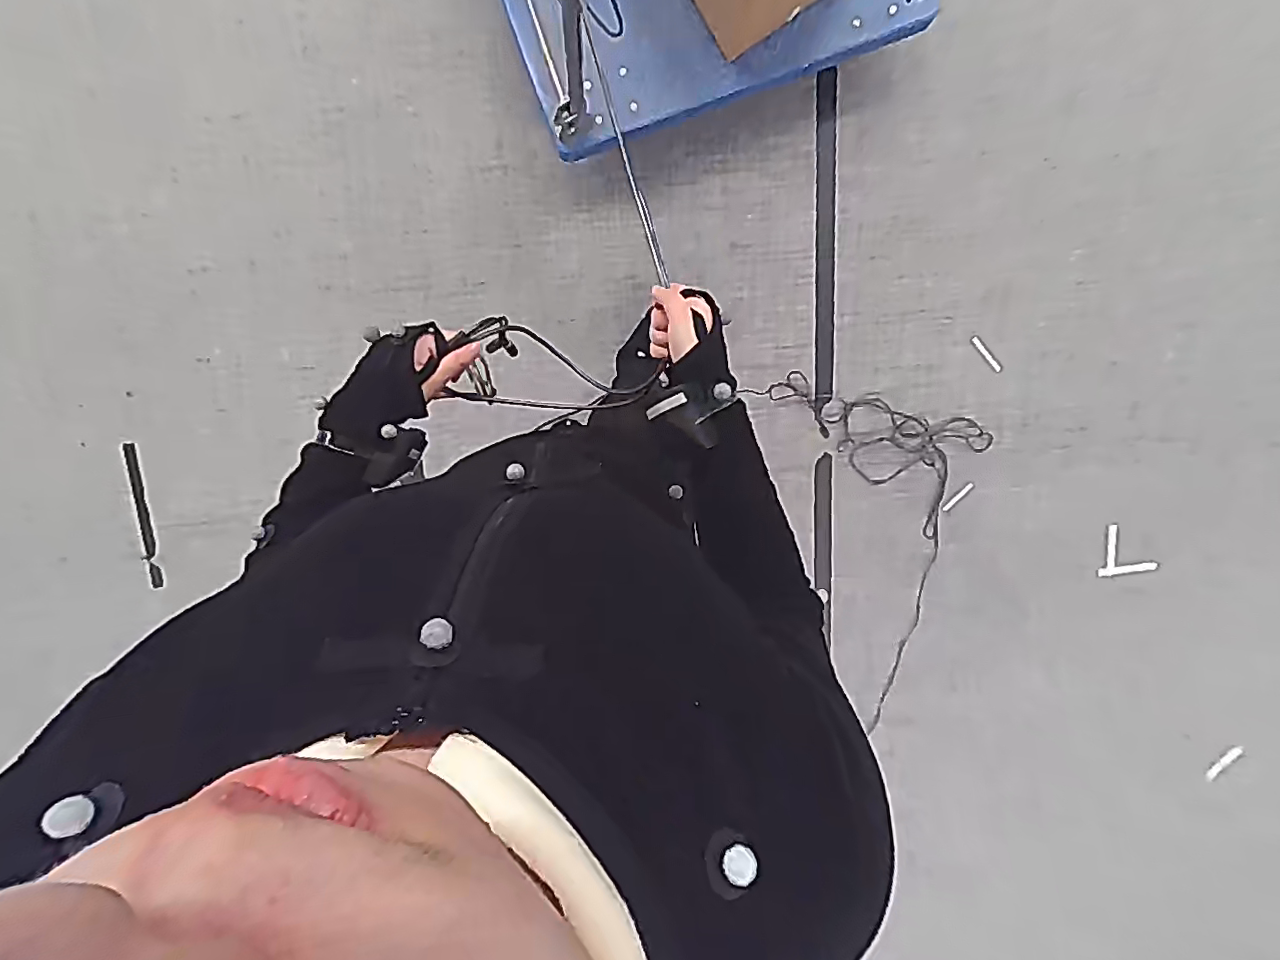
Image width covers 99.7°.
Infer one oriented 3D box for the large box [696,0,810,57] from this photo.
[{"bbox_3d":[0.207,-1.094,0.942,0.320,0.320,0.408,-34,102,5],"label":"large box"}]
